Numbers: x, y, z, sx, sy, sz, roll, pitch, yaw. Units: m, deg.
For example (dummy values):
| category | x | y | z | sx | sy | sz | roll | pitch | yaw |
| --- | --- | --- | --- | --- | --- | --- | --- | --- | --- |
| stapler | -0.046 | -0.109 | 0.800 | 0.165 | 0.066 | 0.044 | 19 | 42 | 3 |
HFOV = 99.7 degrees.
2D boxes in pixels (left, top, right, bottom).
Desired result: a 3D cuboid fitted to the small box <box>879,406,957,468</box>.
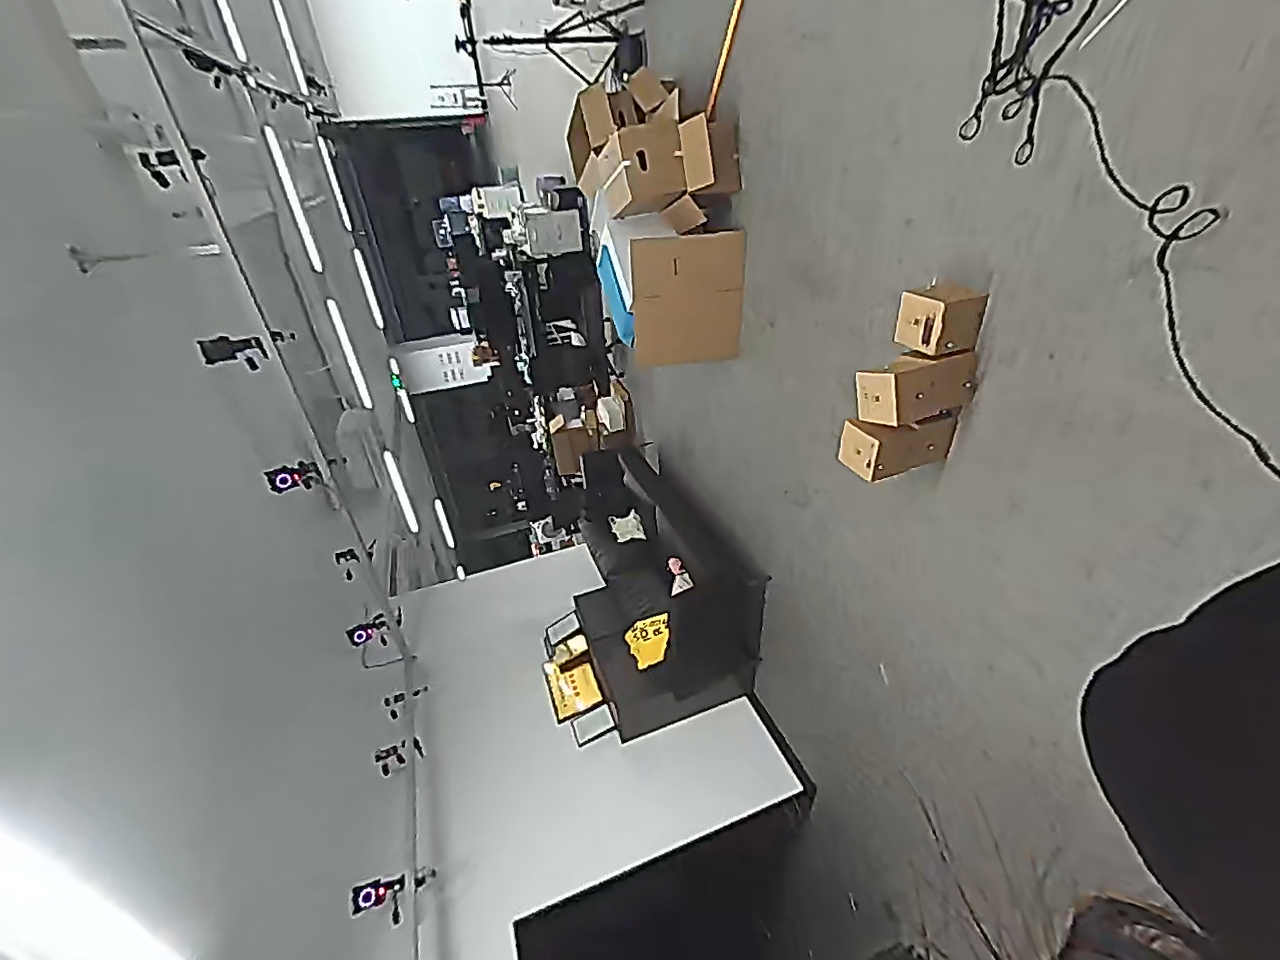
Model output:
| category | x | y | z | sx | sy | sz | roll | pitch | yaw |
| --- | --- | --- | --- | --- | --- | --- | --- | --- | --- |
| small box | 0.987 | -0.172 | 1.921 | 0.168 | 0.176 | 0.179 | -125 | 24 | -53 |

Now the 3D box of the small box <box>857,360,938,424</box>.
| category | x | y | z | sx | sy | sz | roll | pitch | yaw |
| --- | --- | --- | --- | --- | --- | --- | --- | --- | --- |
| small box | 0.832 | -0.288 | 1.739 | 0.179 | 0.176 | 0.168 | -144 | 40 | -68 |
